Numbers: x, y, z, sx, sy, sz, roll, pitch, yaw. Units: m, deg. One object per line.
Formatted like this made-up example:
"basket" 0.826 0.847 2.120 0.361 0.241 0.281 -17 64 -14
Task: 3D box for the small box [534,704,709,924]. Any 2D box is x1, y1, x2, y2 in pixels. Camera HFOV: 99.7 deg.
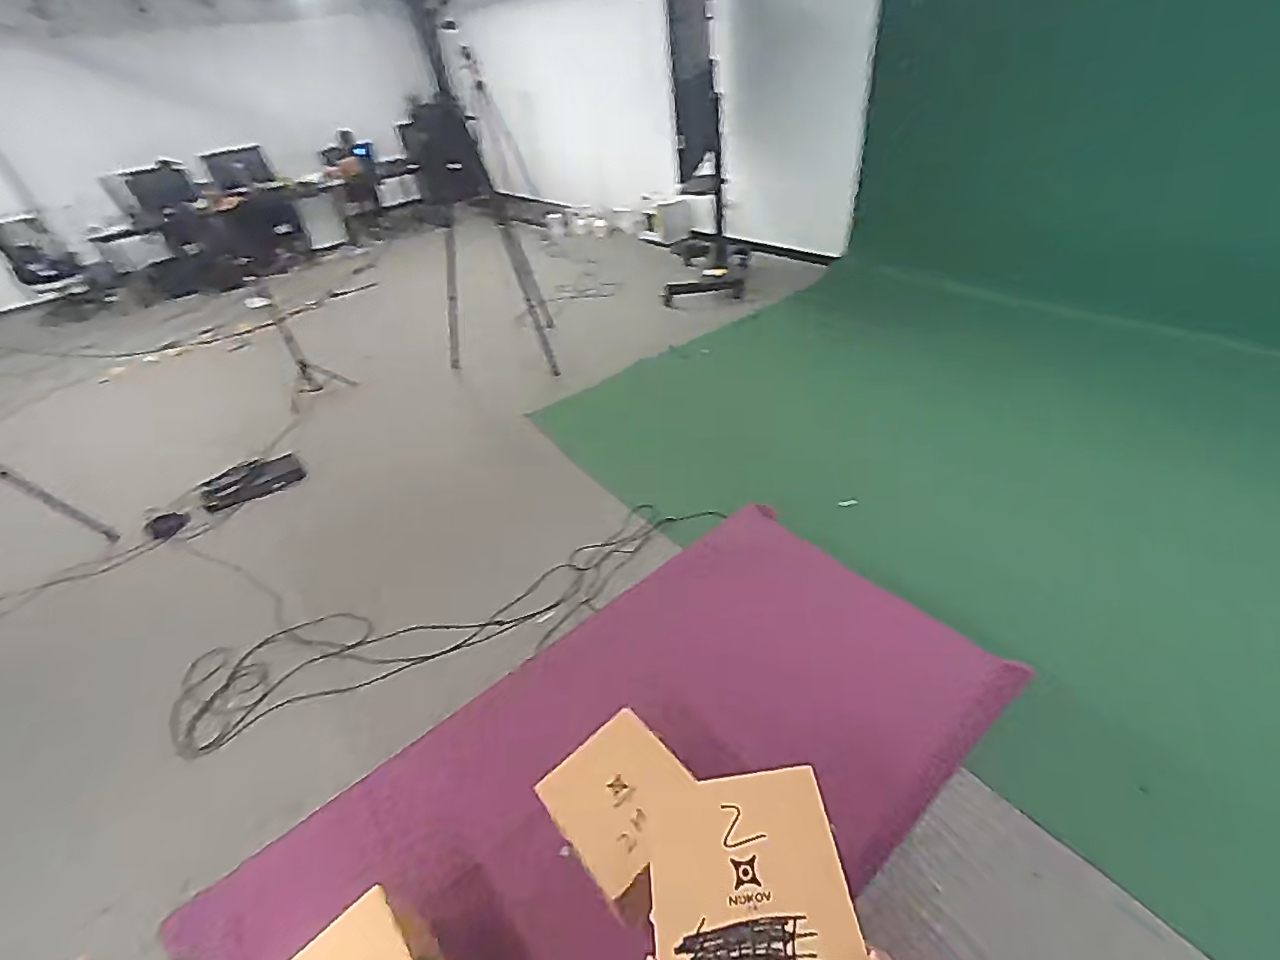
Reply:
"small box" -0.021 0.466 0.758 0.168 0.176 0.179 -33 45 -27

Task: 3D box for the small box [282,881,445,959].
"small box" -0.316 0.624 0.619 0.168 0.176 0.179 -35 46 -29
